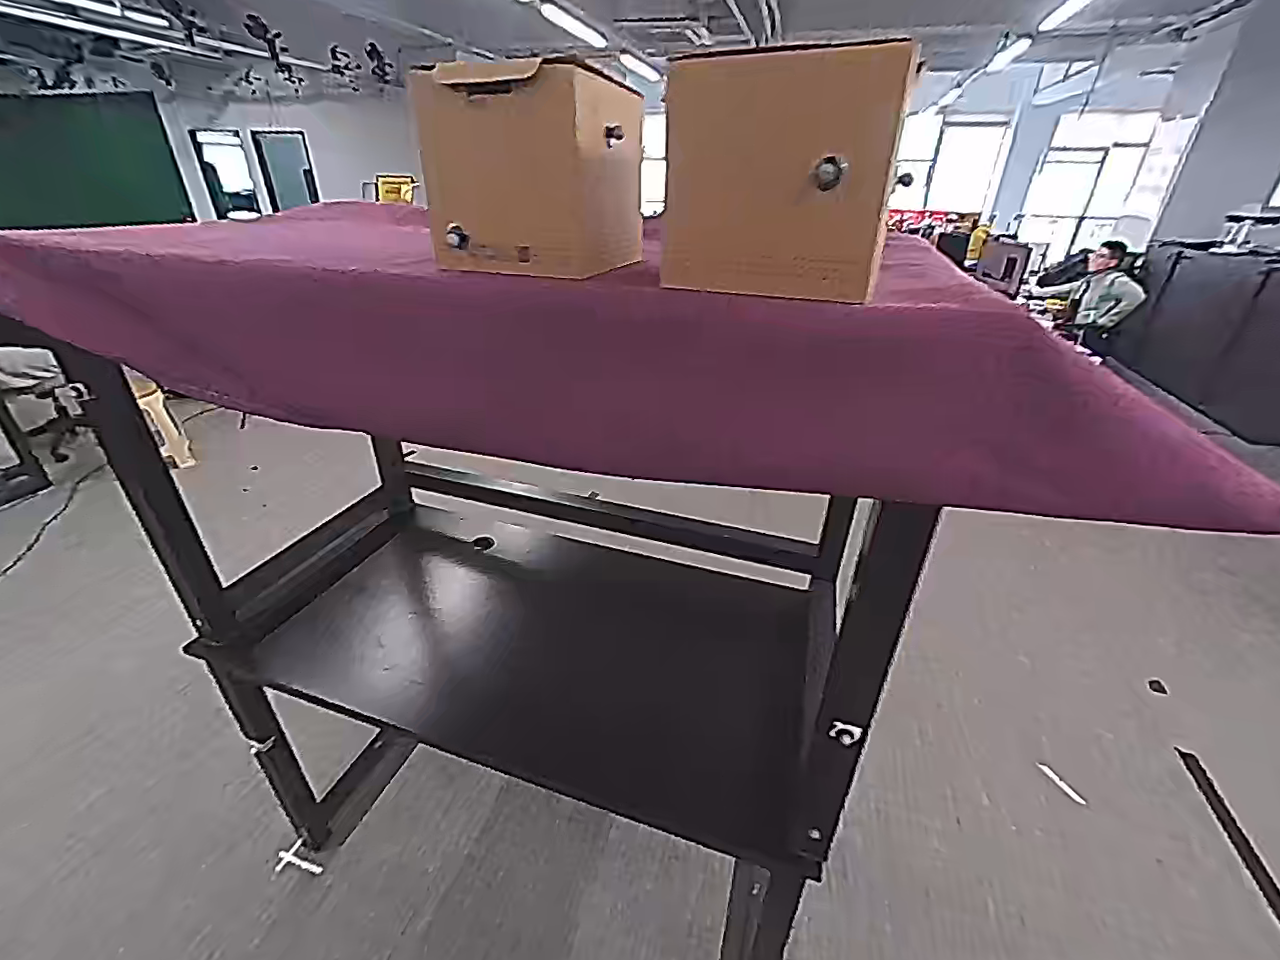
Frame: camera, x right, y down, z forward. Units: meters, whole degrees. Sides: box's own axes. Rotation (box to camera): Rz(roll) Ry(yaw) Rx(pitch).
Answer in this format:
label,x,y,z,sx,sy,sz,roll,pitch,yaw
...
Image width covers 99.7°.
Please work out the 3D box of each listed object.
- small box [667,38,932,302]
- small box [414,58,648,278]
label,x,y,z,sx,sy,sz,roll,pitch,yaw
small box,0.134,-0.255,0.469,0.179,0.176,0.168,12,29,20
small box,-0.096,-0.308,0.556,0.168,0.176,0.179,11,29,16
